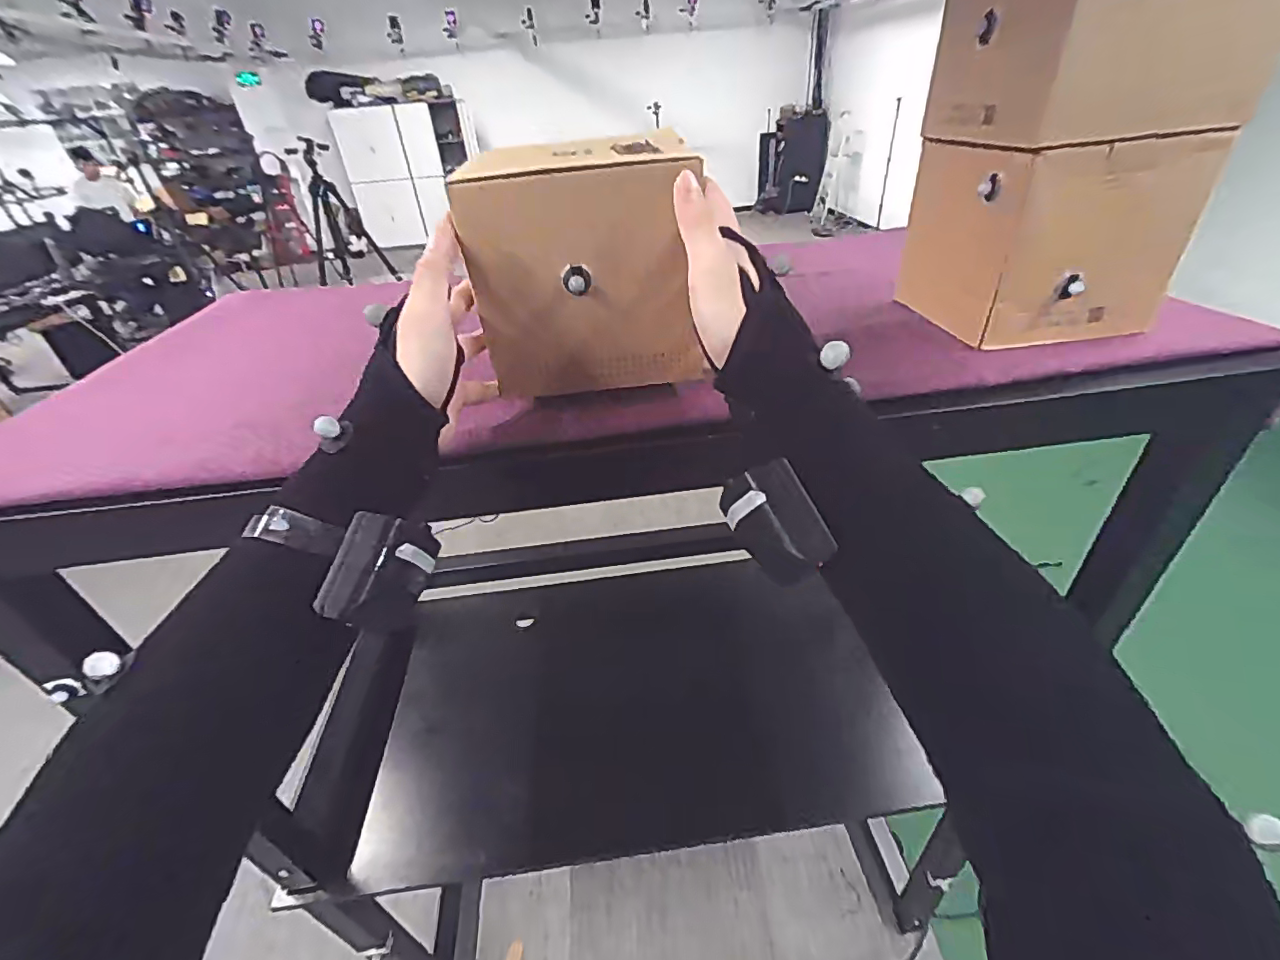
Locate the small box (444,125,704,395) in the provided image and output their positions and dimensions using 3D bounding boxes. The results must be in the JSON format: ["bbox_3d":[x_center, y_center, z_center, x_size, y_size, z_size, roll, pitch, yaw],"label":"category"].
[{"bbox_3d":[-0.042,-0.190,0.468,0.179,0.176,0.168,-7,38,1],"label":"small box"}]

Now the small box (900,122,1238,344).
[{"bbox_3d":[0.384,-0.247,0.532,0.168,0.176,0.179,-7,36,-1],"label":"small box"}]

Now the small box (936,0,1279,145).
[{"bbox_3d":[0.365,-0.376,0.431,0.179,0.176,0.168,-7,36,-1],"label":"small box"}]
